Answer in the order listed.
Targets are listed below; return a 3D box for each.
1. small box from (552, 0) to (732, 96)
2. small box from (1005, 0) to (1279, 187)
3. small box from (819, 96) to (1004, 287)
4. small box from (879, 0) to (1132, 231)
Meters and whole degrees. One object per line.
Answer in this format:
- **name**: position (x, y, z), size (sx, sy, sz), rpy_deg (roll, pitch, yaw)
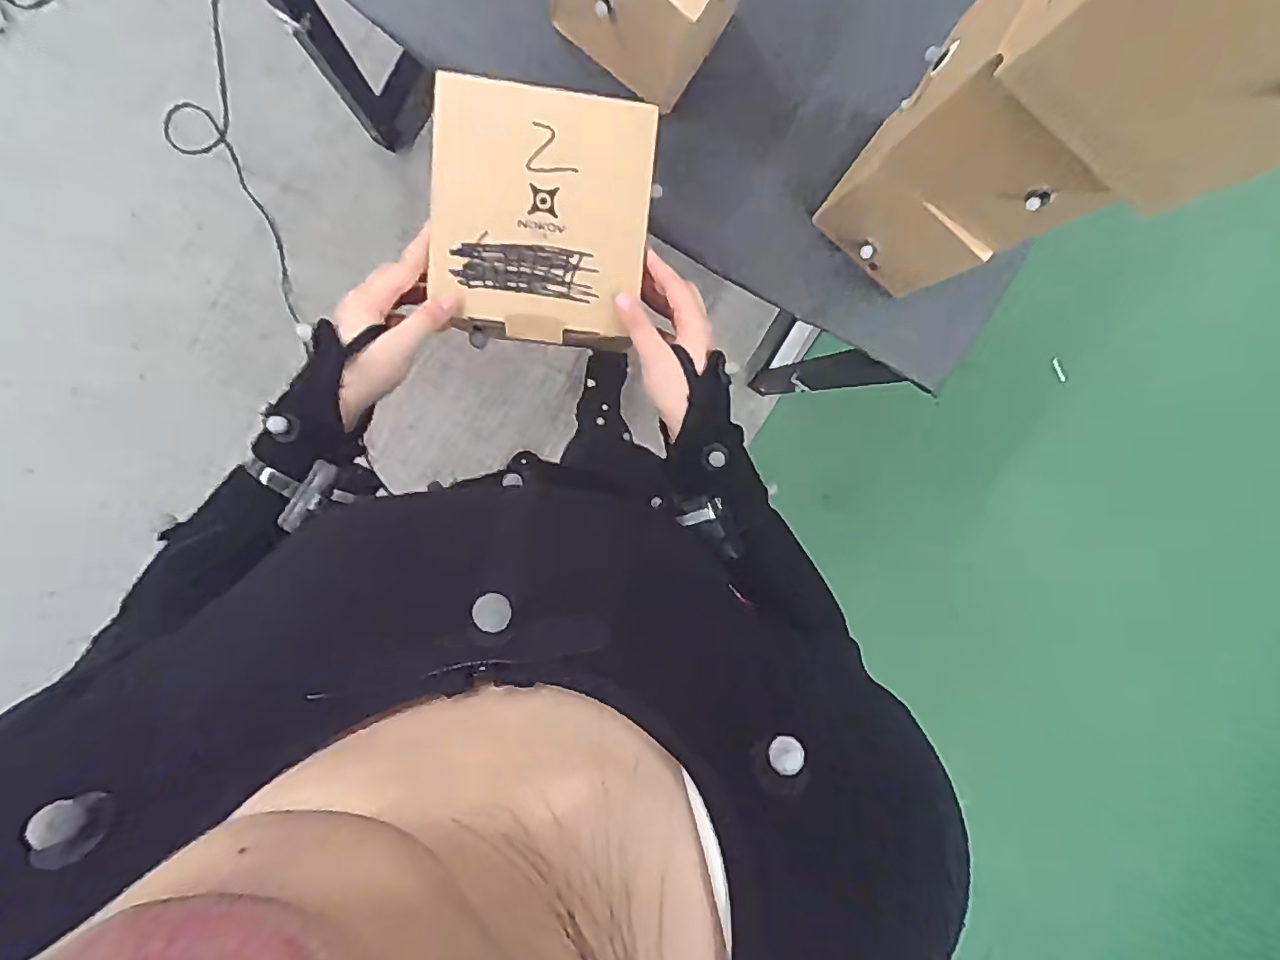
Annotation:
- **small box**: position (0.012, -0.577, 0.589), size (0.179, 0.176, 0.168), rpy_deg (33, 91, -9)
- **small box**: position (0.386, -0.318, 0.331), size (0.179, 0.176, 0.168), rpy_deg (34, 89, -9)
- **small box**: position (0.352, -0.368, 0.653), size (0.168, 0.176, 0.179), rpy_deg (37, 90, -9)
- **small box**: position (0.364, -0.358, 0.491), size (0.179, 0.176, 0.168), rpy_deg (29, 90, -8)
